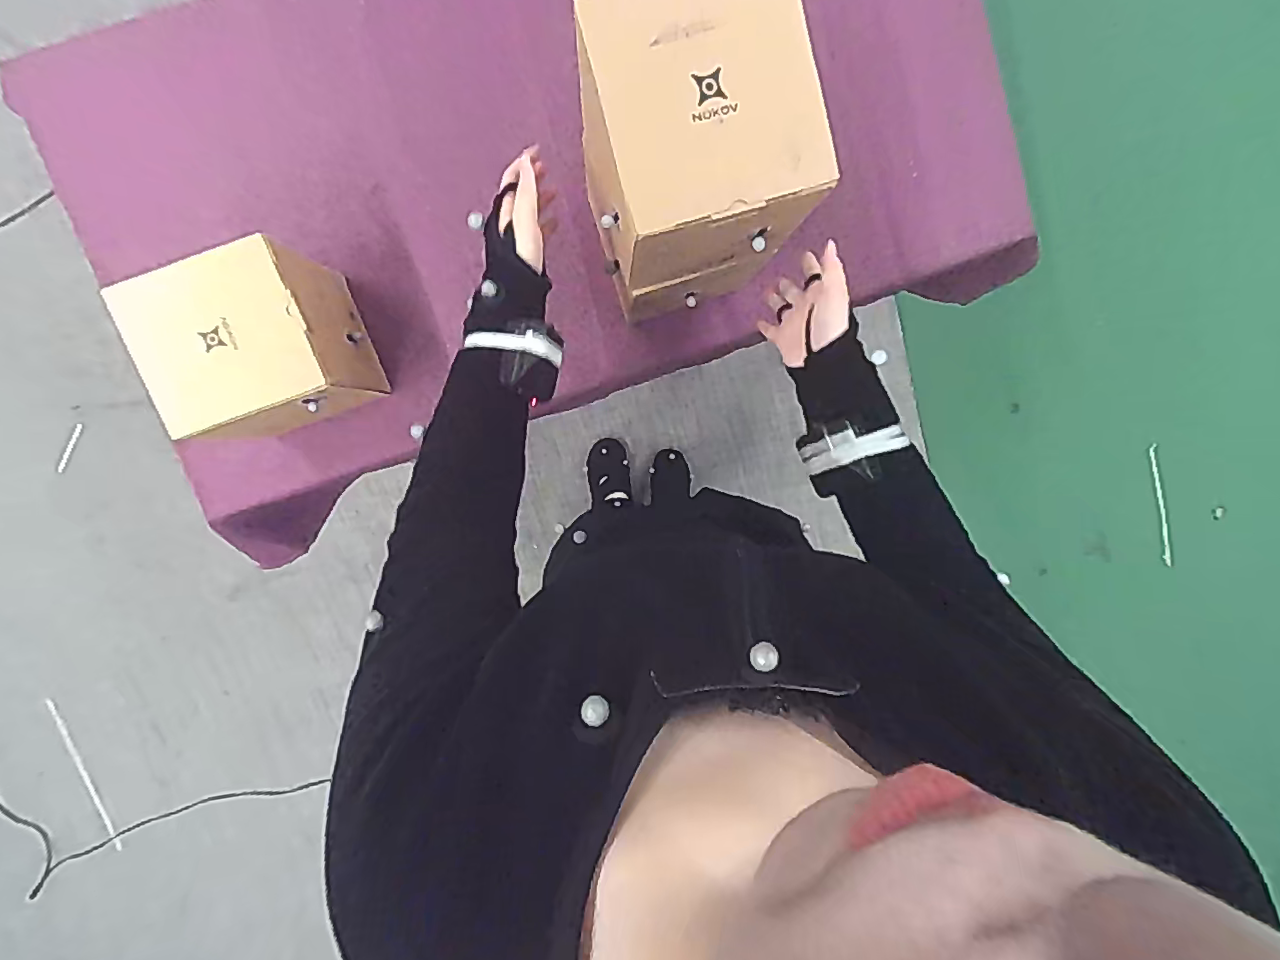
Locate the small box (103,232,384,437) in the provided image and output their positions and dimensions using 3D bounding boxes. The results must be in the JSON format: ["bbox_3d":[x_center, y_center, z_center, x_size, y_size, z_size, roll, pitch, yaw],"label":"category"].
[{"bbox_3d":[-0.442,-0.155,0.637,0.179,0.176,0.168,-21,97,-1],"label":"small box"}]

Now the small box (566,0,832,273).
[{"bbox_3d":[0.043,-0.299,0.478,0.168,0.176,0.179,-16,96,-1],"label":"small box"}]

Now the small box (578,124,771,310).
[{"bbox_3d":[0.036,-0.314,0.641,0.168,0.176,0.179,-18,97,-1],"label":"small box"}]
